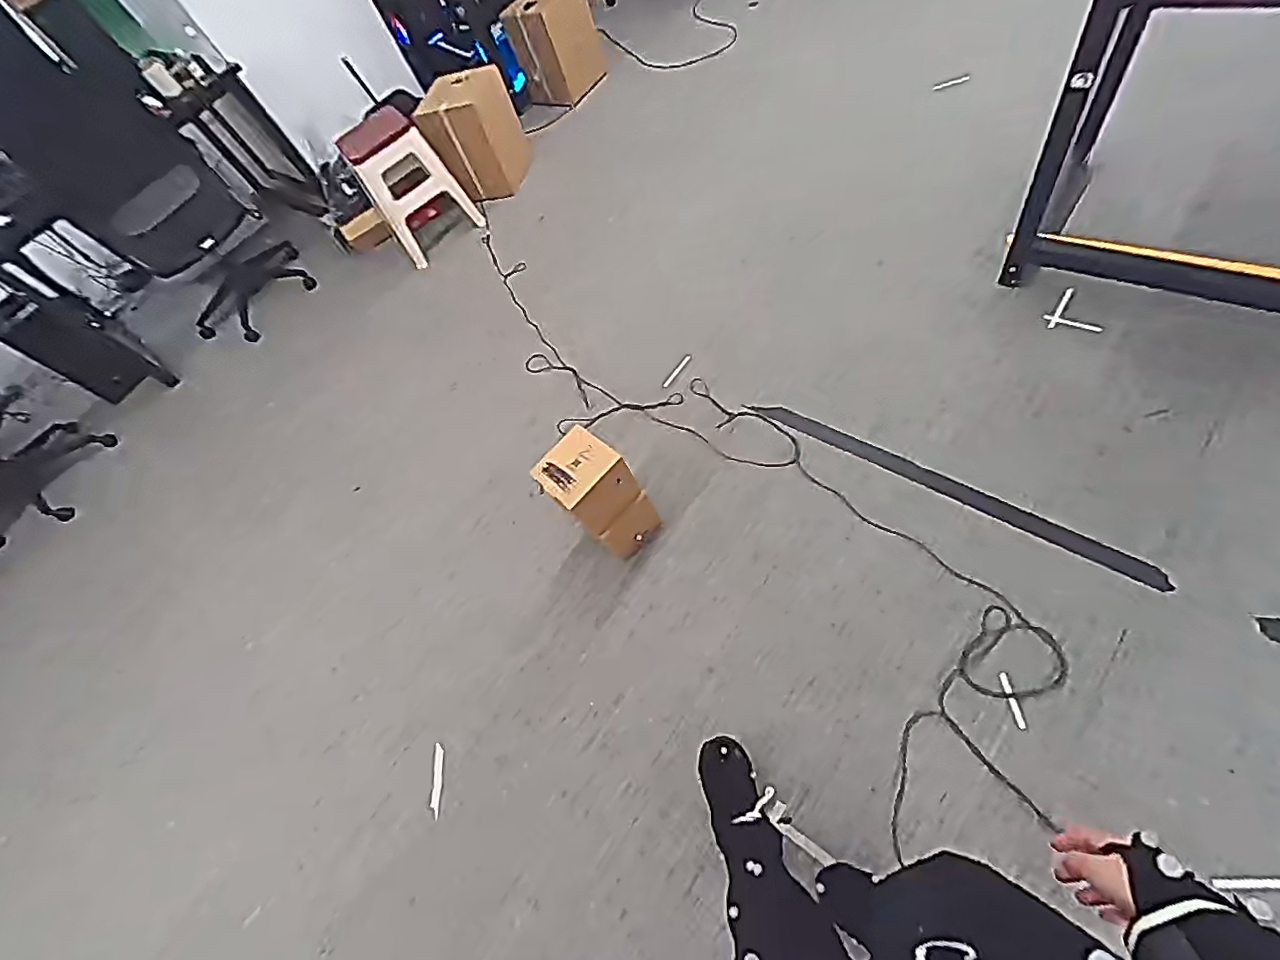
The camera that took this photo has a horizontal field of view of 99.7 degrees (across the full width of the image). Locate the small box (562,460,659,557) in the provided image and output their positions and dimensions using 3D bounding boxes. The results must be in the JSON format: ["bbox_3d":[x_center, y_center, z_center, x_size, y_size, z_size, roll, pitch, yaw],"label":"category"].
[{"bbox_3d":[-0.075,0.083,1.471,0.179,0.176,0.168,38,78,30],"label":"small box"}]
